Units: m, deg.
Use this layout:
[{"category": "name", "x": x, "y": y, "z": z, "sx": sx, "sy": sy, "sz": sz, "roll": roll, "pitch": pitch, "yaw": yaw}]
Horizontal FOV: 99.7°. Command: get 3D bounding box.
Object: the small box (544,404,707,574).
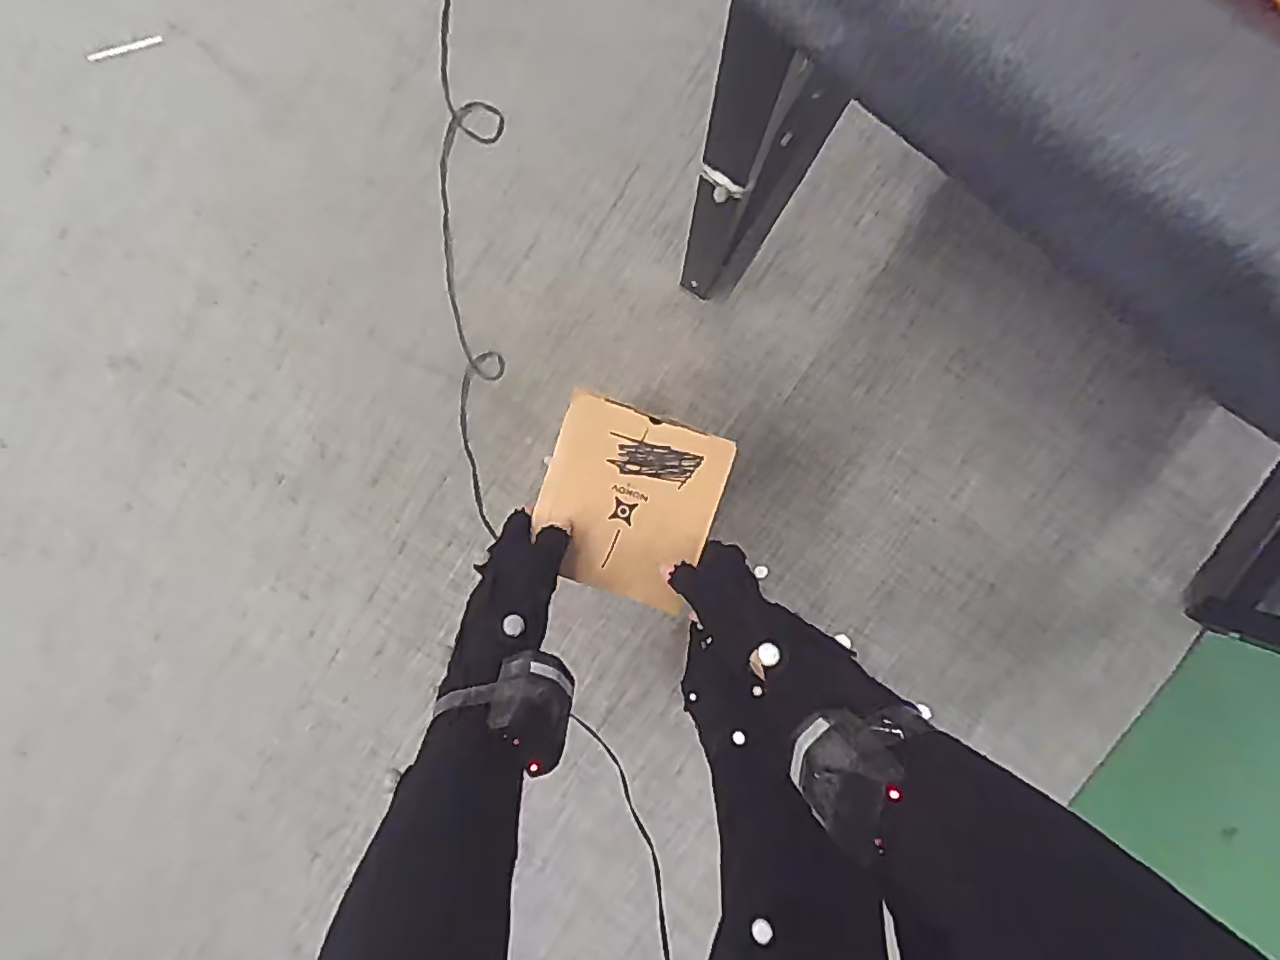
[{"category": "small box", "x": -0.015, "y": 0.008, "z": 0.771, "sx": 0.168, "sy": 0.176, "sz": 0.179, "roll": 22, "pitch": 94, "yaw": 1}]
